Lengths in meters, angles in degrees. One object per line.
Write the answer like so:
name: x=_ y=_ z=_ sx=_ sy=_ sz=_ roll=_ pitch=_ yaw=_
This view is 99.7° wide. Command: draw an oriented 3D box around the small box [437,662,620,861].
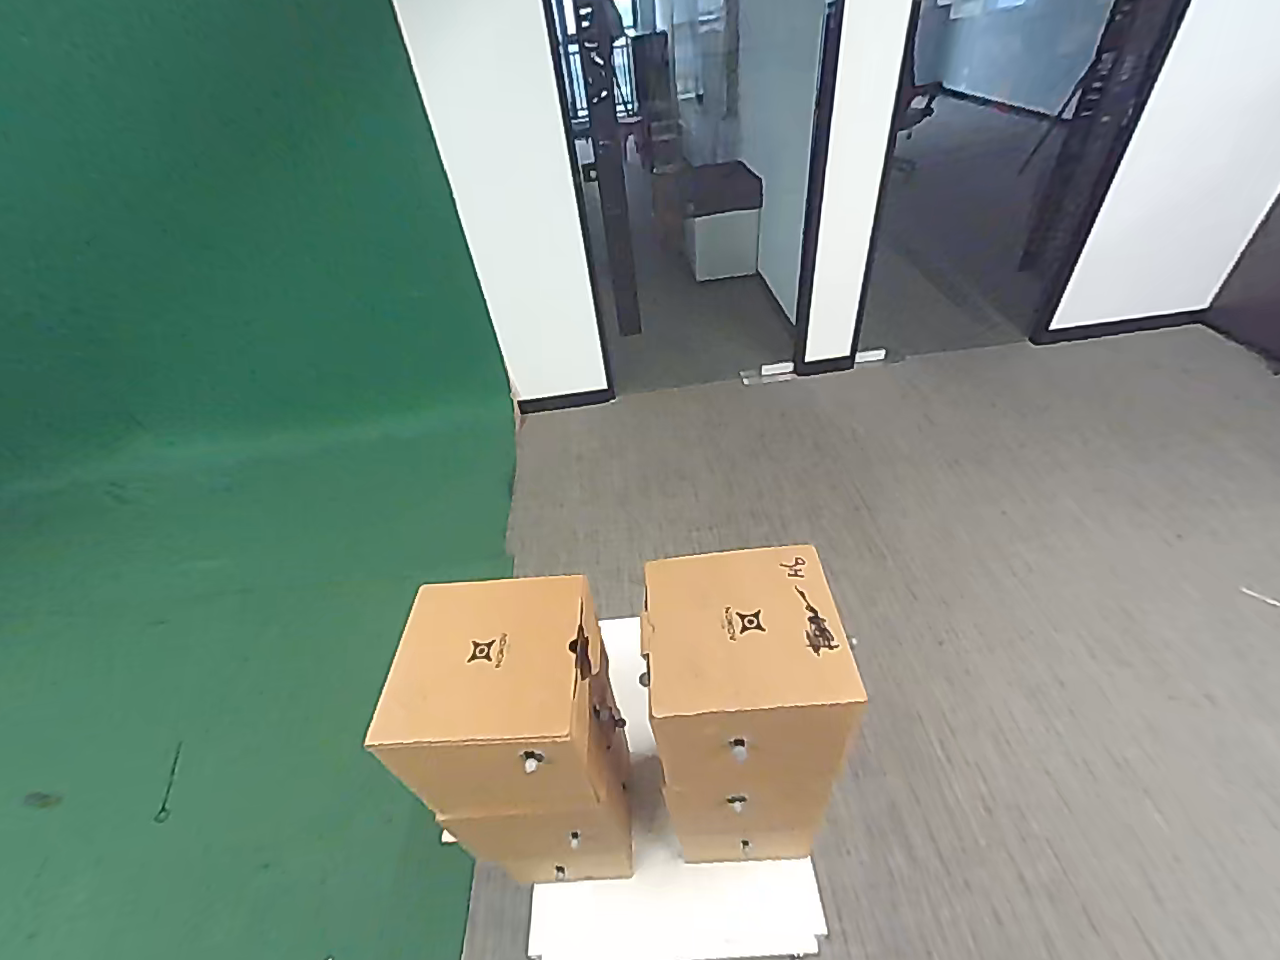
small box: x=-0.116 y=0.340 z=0.656 sx=0.179 sy=0.176 sz=0.168 roll=-6 pitch=41 yaw=2

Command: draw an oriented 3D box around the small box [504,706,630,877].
small box: x=-0.103 y=0.449 z=0.776 sx=0.168 sy=0.176 sz=0.179 roll=-4 pitch=42 yaw=1

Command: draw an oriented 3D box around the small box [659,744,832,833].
small box: x=0.117 y=0.308 z=0.653 sx=0.179 sy=0.176 sz=0.168 roll=-5 pitch=42 yaw=4

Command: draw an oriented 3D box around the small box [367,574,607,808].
small box: x=-0.133 y=0.216 z=0.551 sx=0.179 sy=0.176 sz=0.168 roll=-4 pitch=42 yaw=2

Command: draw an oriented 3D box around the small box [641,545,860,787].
small box: x=0.101 y=0.189 z=0.542 sx=0.179 sy=0.176 sz=0.168 roll=-7 pitch=42 yaw=5
